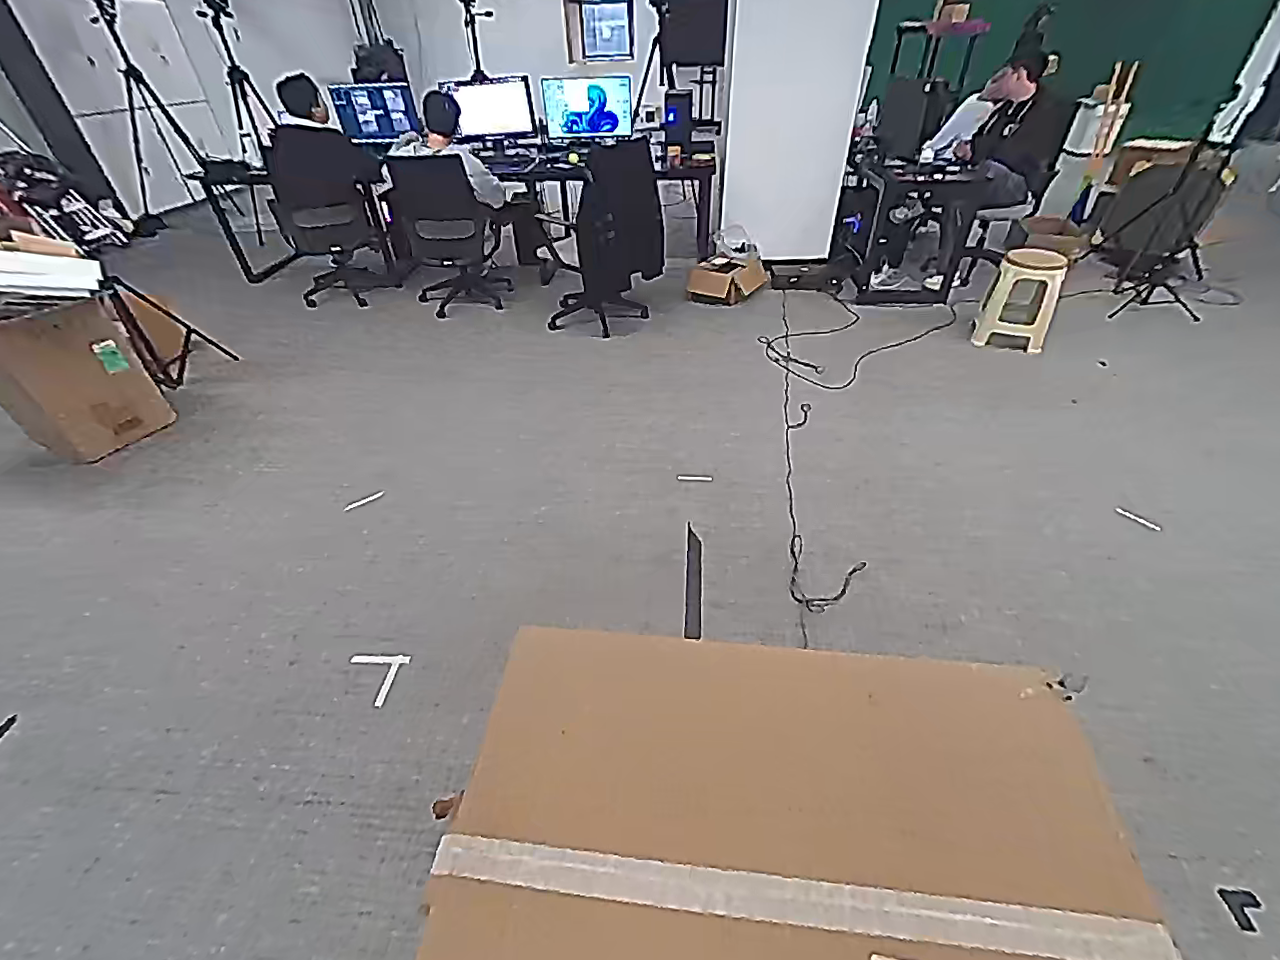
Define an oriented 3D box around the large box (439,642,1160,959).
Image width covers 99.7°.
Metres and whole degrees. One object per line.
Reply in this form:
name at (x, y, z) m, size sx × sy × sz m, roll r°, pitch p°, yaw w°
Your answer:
large box at (0.092, 0.353, 0.424) m, size 0.408 × 0.320 × 0.320 m, roll 3°, pitch 47°, yaw 6°
